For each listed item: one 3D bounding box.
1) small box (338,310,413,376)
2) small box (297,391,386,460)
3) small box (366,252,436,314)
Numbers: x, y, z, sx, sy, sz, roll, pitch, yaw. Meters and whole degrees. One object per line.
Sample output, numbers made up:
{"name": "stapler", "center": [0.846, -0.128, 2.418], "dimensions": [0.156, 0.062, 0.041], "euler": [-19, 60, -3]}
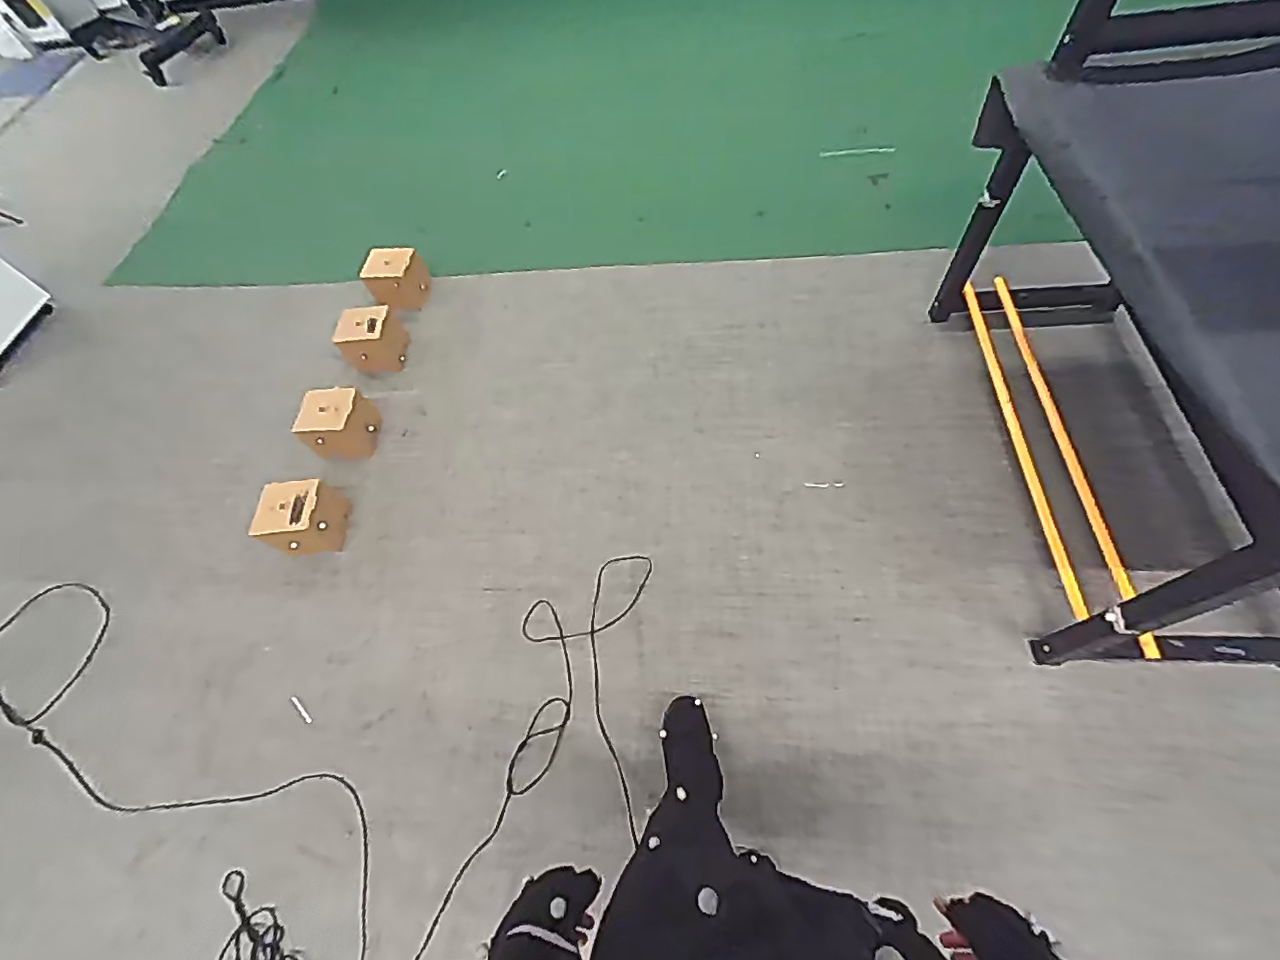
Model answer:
{"name": "small box", "center": [-0.961, -0.499, 1.983], "dimensions": [0.179, 0.176, 0.168], "euler": [-4, 59, 5]}
{"name": "small box", "center": [-0.982, -0.176, 1.793], "dimensions": [0.179, 0.176, 0.168], "euler": [-1, 61, 5]}
{"name": "small box", "center": [-0.942, -0.778, 2.146], "dimensions": [0.179, 0.176, 0.168], "euler": [1, 61, 7]}
